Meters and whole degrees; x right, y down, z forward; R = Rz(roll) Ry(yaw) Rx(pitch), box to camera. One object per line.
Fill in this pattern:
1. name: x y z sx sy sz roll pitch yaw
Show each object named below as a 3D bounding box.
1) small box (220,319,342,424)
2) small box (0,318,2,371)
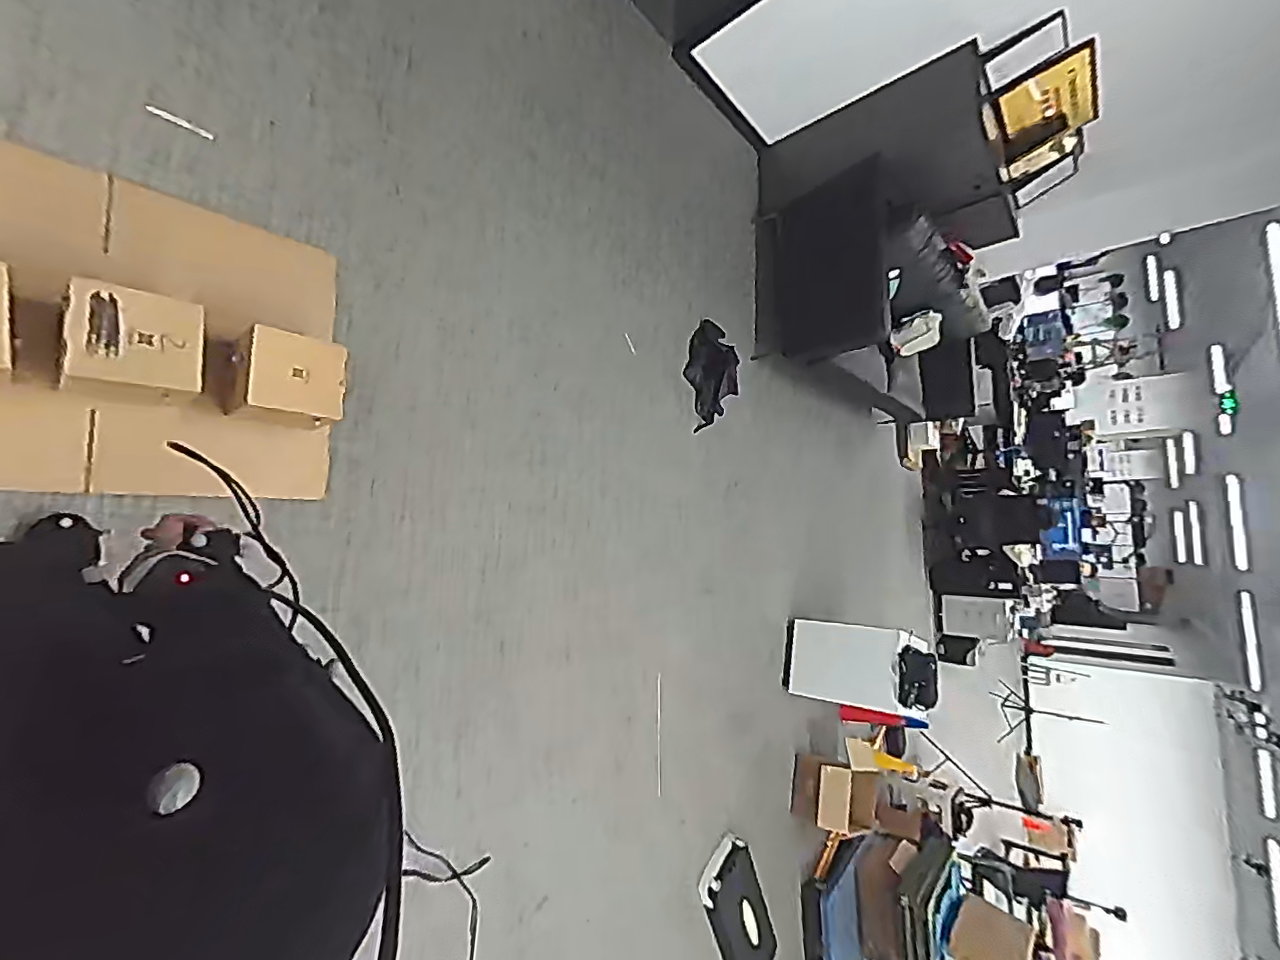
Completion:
1. small box: -0.768 -0.220 1.155 0.179 0.176 0.168 8 80 -50
2. small box: -1.076 -0.251 0.794 0.179 0.176 0.168 -2 90 -51
